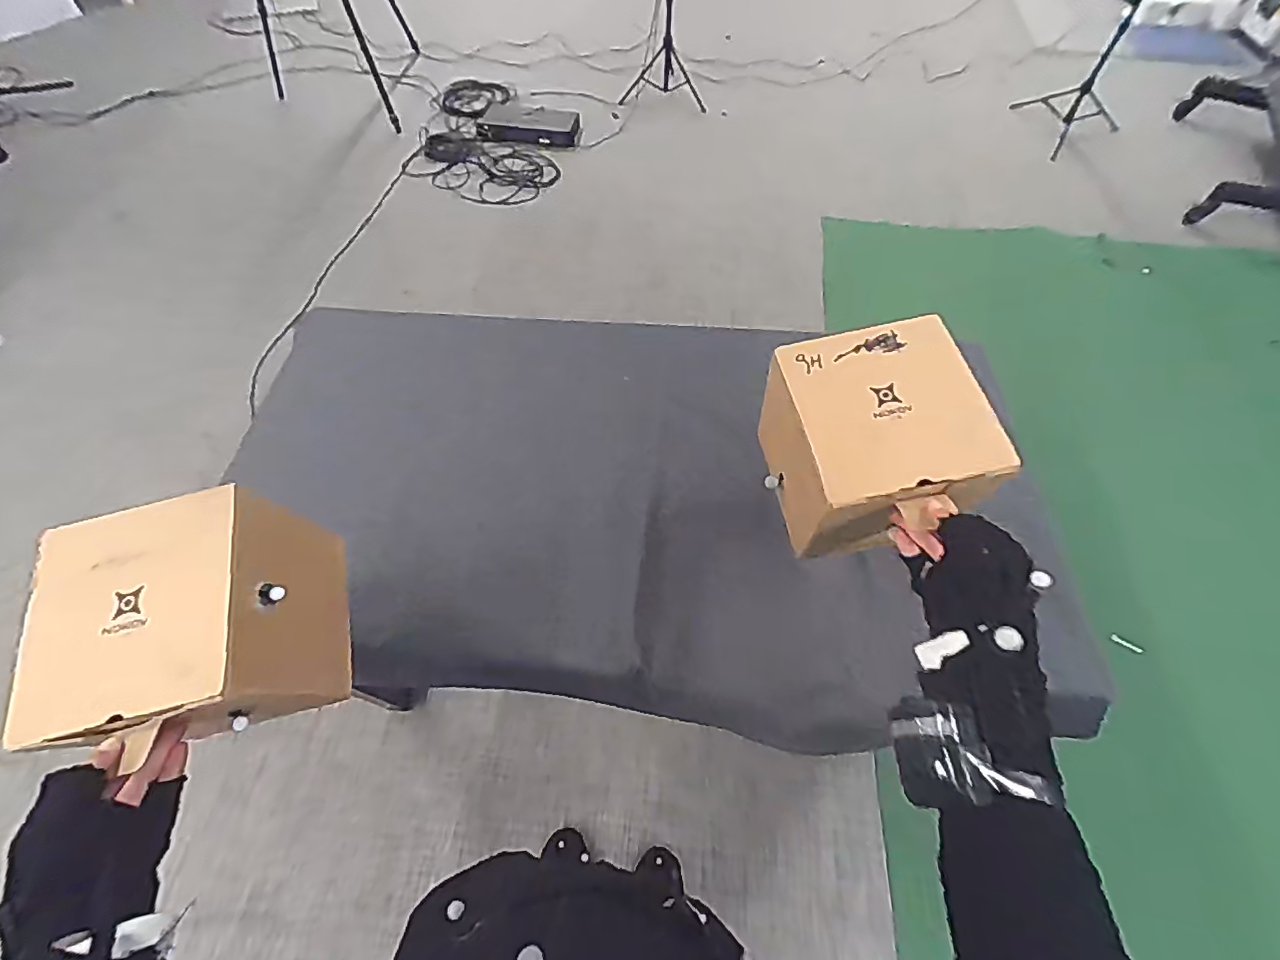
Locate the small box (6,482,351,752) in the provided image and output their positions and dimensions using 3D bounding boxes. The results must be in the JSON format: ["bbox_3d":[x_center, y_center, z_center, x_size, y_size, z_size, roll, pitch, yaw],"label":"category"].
[{"bbox_3d":[-0.388,0.127,0.493,0.168,0.176,0.179,-15,67,-2],"label":"small box"}]

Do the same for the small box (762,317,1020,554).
[{"bbox_3d":[0.233,-0.032,0.559,0.168,0.176,0.179,-11,66,1],"label":"small box"}]
